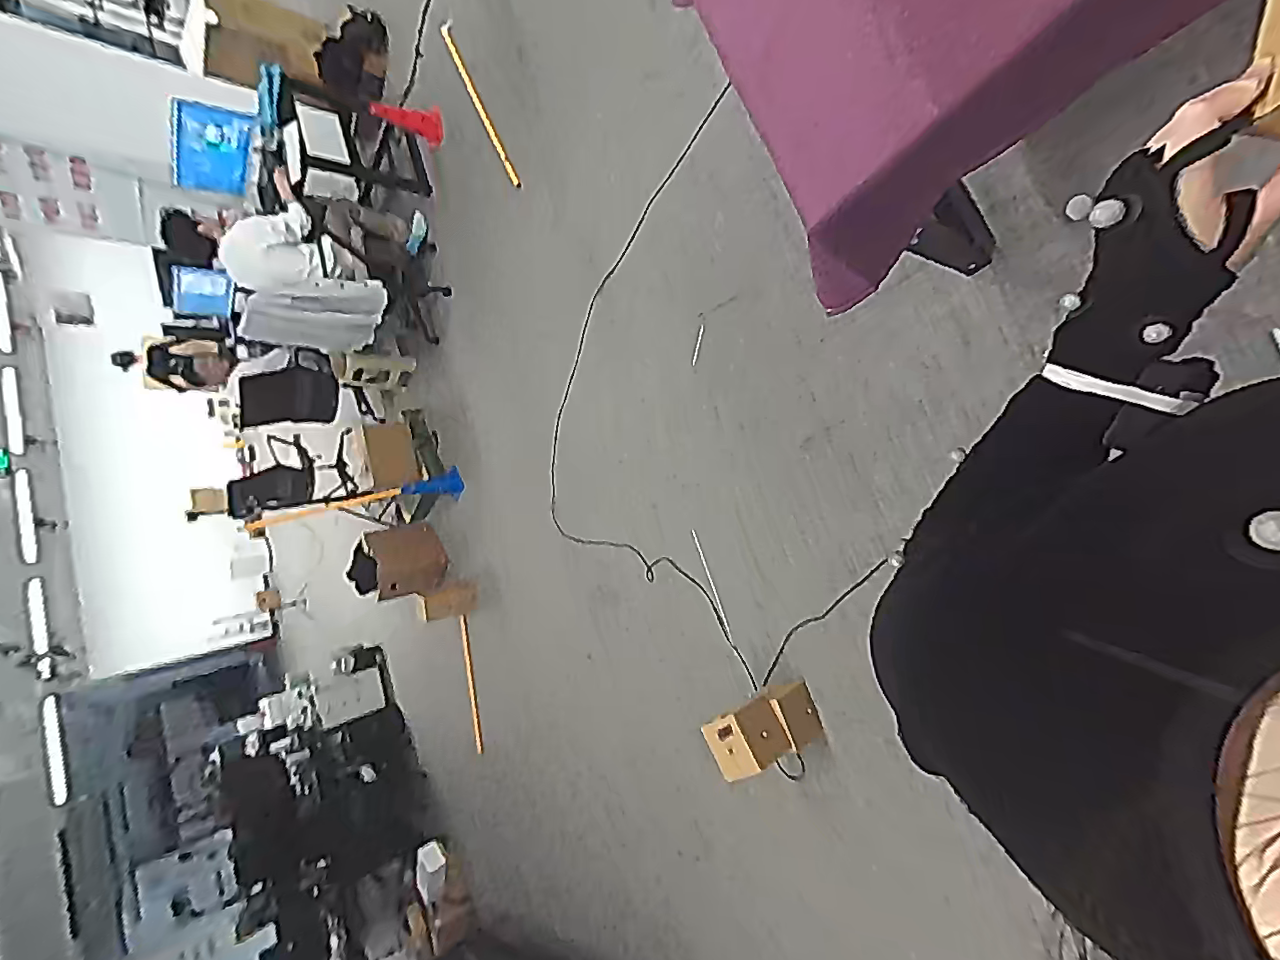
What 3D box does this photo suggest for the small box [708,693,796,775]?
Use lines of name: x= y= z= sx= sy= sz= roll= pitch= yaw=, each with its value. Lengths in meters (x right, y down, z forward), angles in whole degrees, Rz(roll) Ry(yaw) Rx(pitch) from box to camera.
small box: x=0.354 y=0.792 z=1.702 sx=0.168 sy=0.176 sz=0.179 roll=-45 pitch=64 yaw=43
